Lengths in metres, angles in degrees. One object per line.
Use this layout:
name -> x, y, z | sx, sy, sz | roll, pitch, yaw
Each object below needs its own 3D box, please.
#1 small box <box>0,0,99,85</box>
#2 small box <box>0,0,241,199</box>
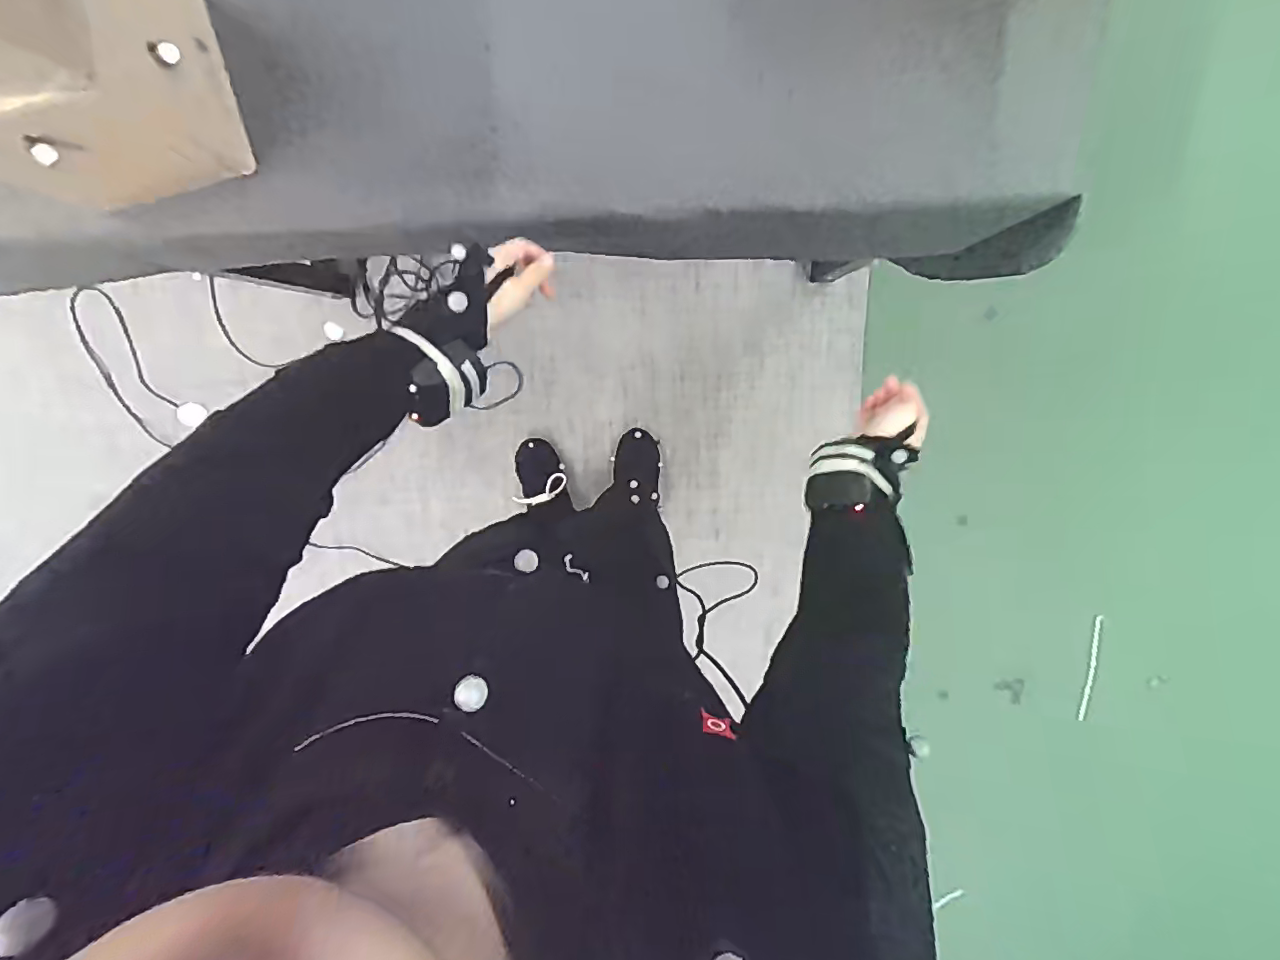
small box -> -0.472, -0.342, 0.292 | 0.179, 0.176, 0.168 | -4, 102, 1
small box -> -0.484, -0.361, 0.454 | 0.179, 0.176, 0.168 | -11, 101, 3
